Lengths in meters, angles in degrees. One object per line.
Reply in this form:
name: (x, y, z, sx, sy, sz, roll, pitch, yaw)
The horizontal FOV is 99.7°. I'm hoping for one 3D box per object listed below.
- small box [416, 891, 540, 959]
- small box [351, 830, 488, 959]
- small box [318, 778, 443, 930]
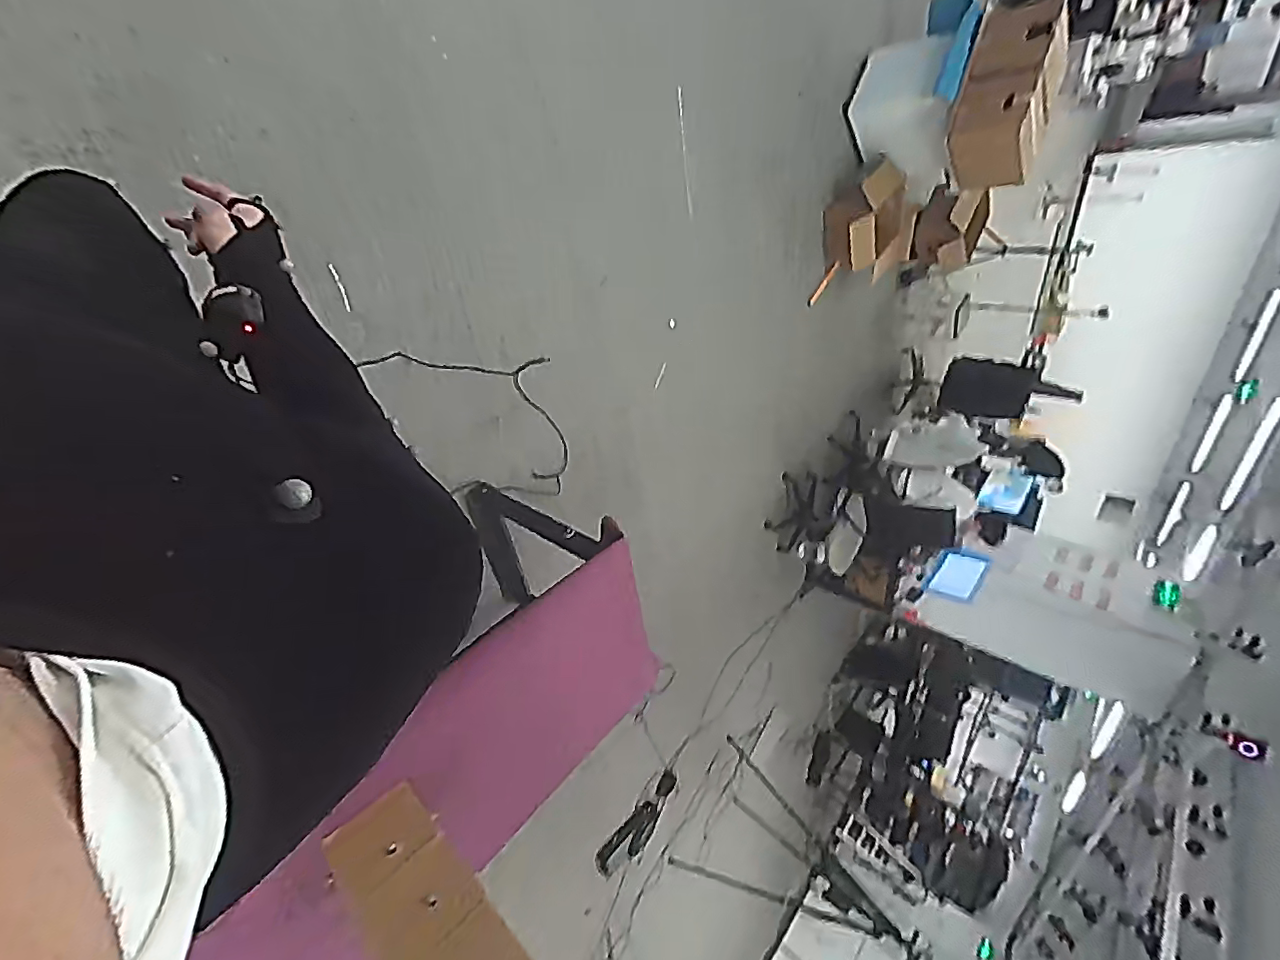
small box: (-0.270, 0.850, 0.895, 0.179, 0.176, 0.168, -31, 129, -40)
small box: (-0.391, 0.800, 0.994, 0.179, 0.176, 0.168, -30, 128, -41)
small box: (-0.513, 0.755, 1.094, 0.179, 0.176, 0.168, -26, 125, -42)
